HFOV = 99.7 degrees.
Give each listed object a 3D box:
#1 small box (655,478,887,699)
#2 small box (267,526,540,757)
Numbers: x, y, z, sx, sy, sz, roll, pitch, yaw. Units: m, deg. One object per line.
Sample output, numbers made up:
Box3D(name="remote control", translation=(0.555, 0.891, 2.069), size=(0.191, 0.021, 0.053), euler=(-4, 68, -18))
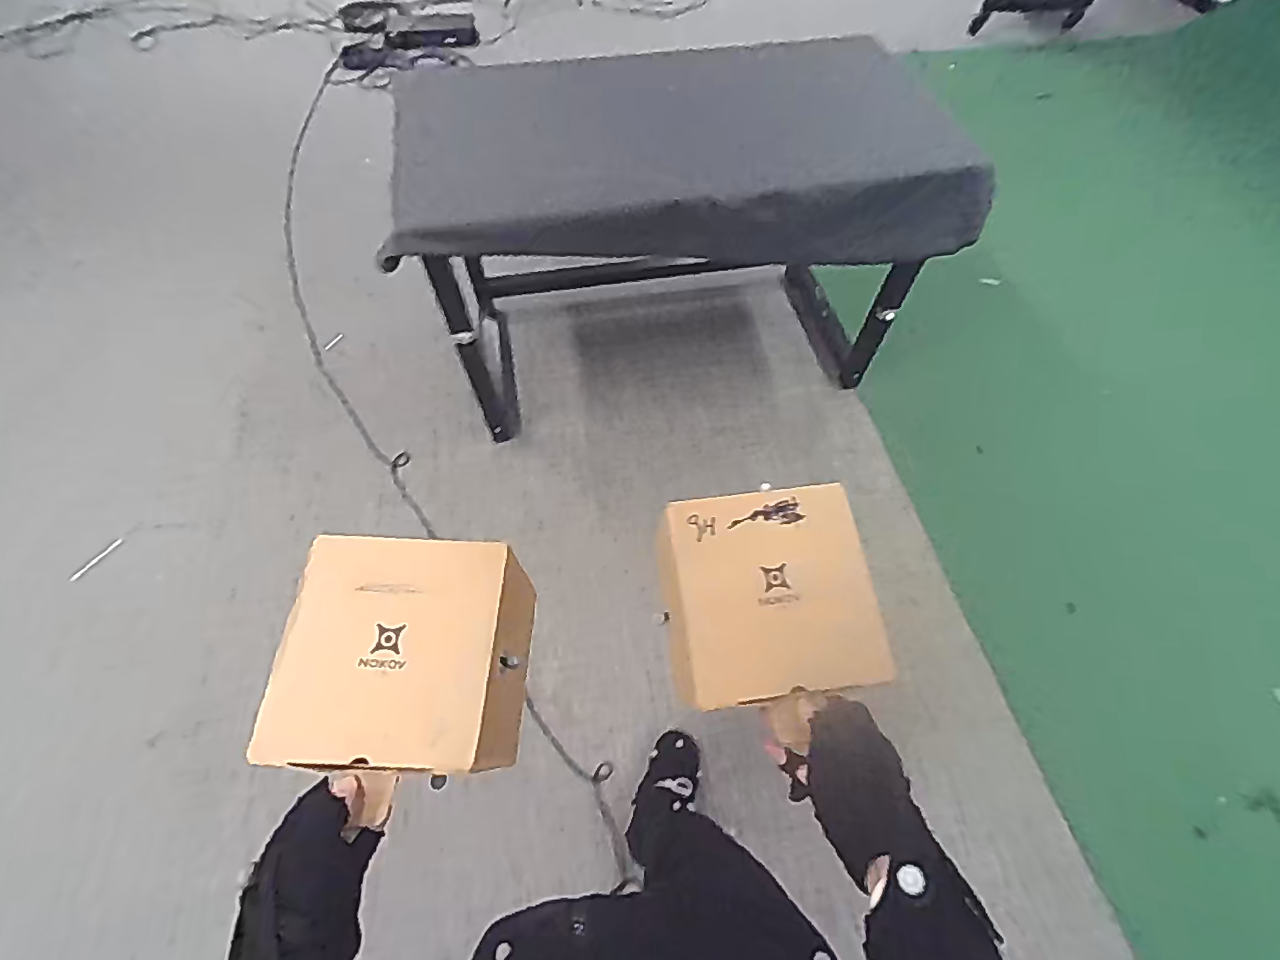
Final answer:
Box3D(name="small box", translation=(0.111, 0.112, 0.544), size=(0.168, 0.176, 0.179), euler=(-6, 72, -6))
Box3D(name="small box", translation=(-0.192, 0.156, 0.504), size=(0.168, 0.176, 0.179), euler=(2, 63, -1))
